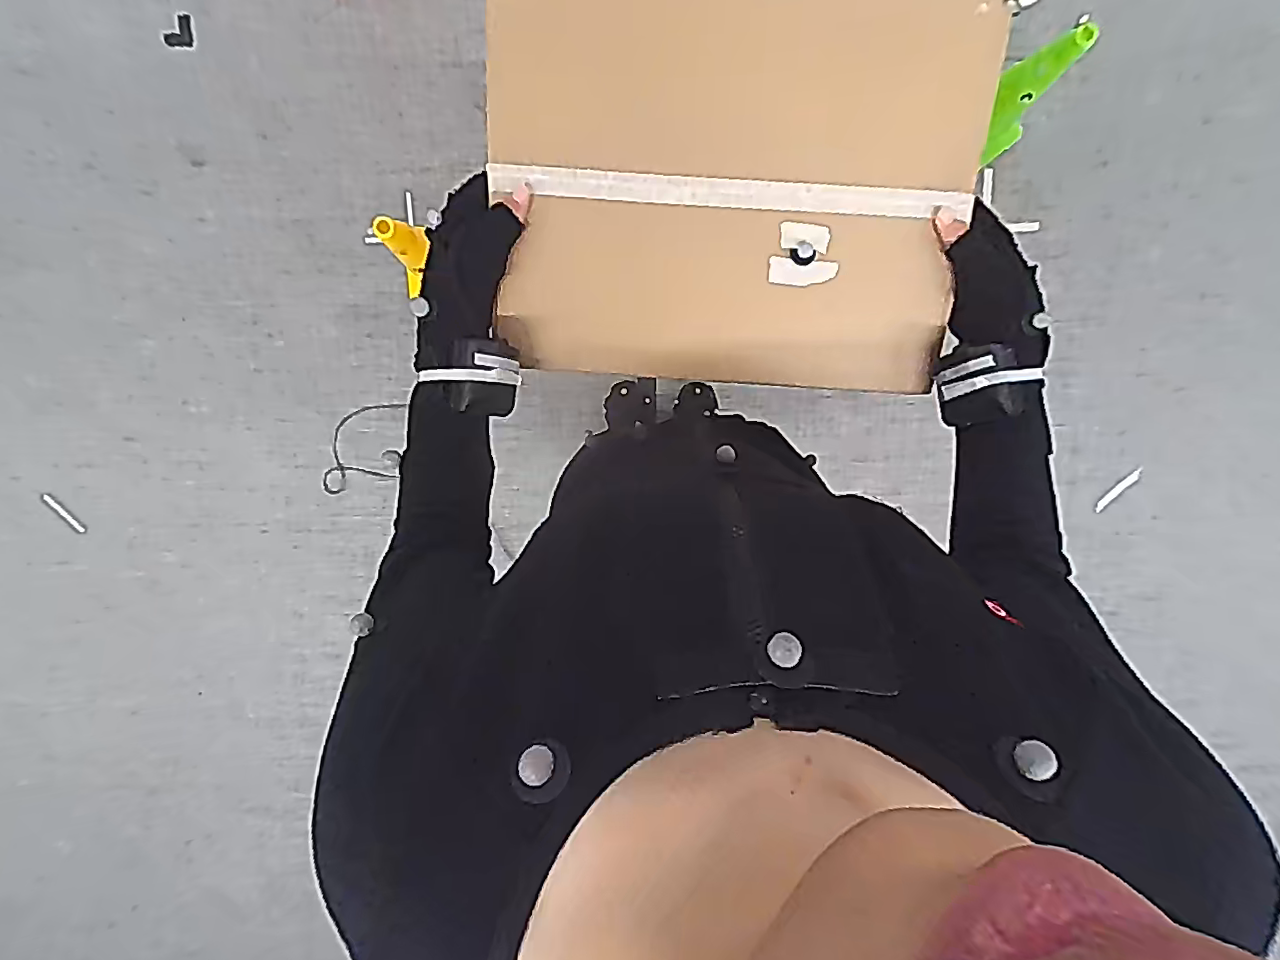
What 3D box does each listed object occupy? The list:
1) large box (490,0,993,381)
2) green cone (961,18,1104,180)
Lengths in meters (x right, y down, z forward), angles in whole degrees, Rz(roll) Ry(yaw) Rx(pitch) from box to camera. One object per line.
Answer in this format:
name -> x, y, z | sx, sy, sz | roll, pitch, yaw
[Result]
large box -> 0.073, -0.288, 0.605 | 0.408, 0.320, 0.320 | 3, 107, -1
green cone -> 0.820, -0.848, 1.164 | 0.202, 0.368, 0.200 | -38, 99, 4
